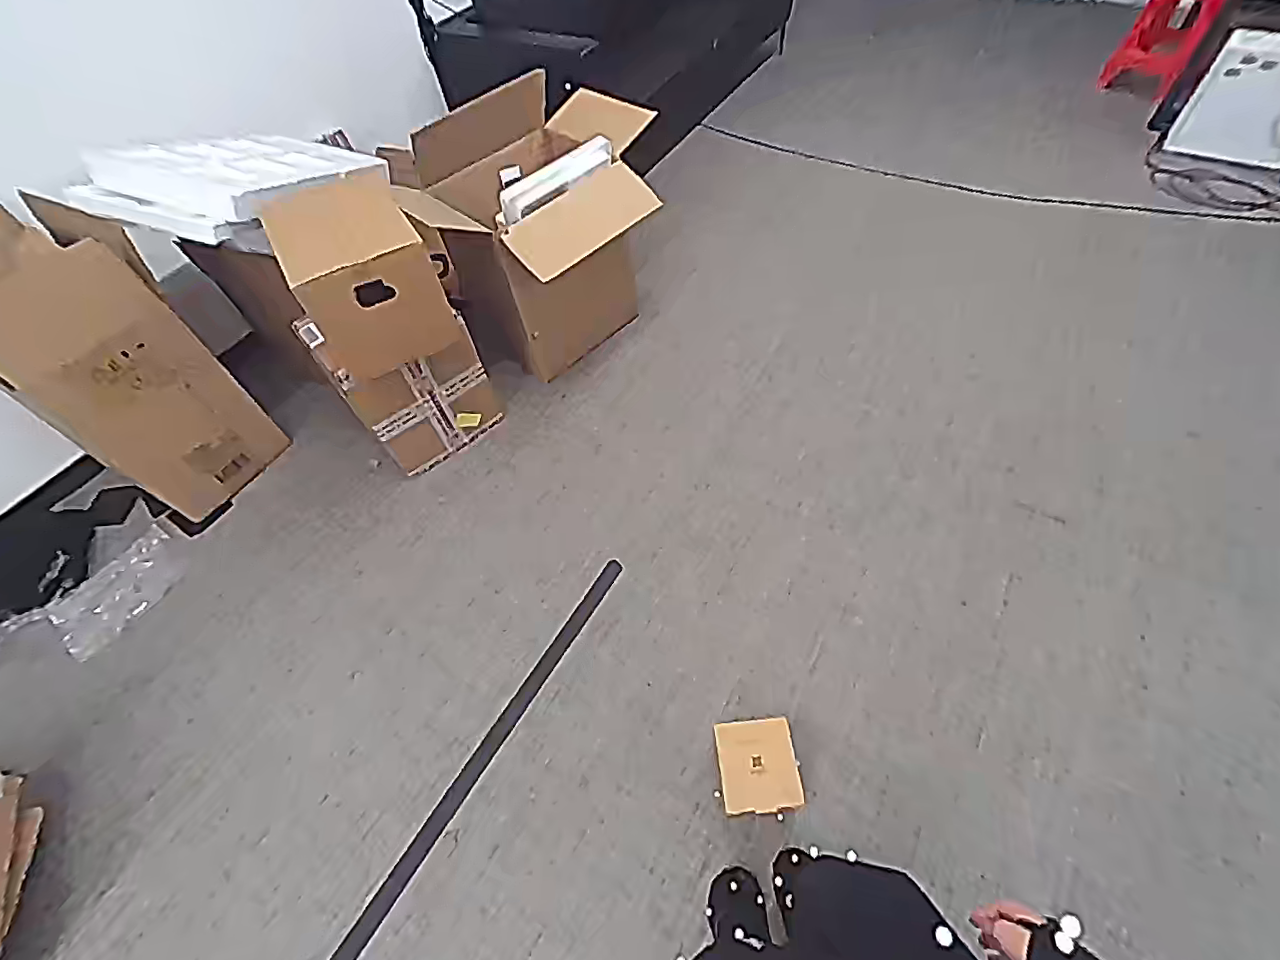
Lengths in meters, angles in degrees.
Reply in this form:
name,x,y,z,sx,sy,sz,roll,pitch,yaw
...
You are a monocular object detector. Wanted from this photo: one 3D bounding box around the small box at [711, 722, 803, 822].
name,x,y,z,sx,sy,sz,roll,pitch,yaw
small box,0.254,0.659,1.213,0.168,0.176,0.179,-7,54,0
